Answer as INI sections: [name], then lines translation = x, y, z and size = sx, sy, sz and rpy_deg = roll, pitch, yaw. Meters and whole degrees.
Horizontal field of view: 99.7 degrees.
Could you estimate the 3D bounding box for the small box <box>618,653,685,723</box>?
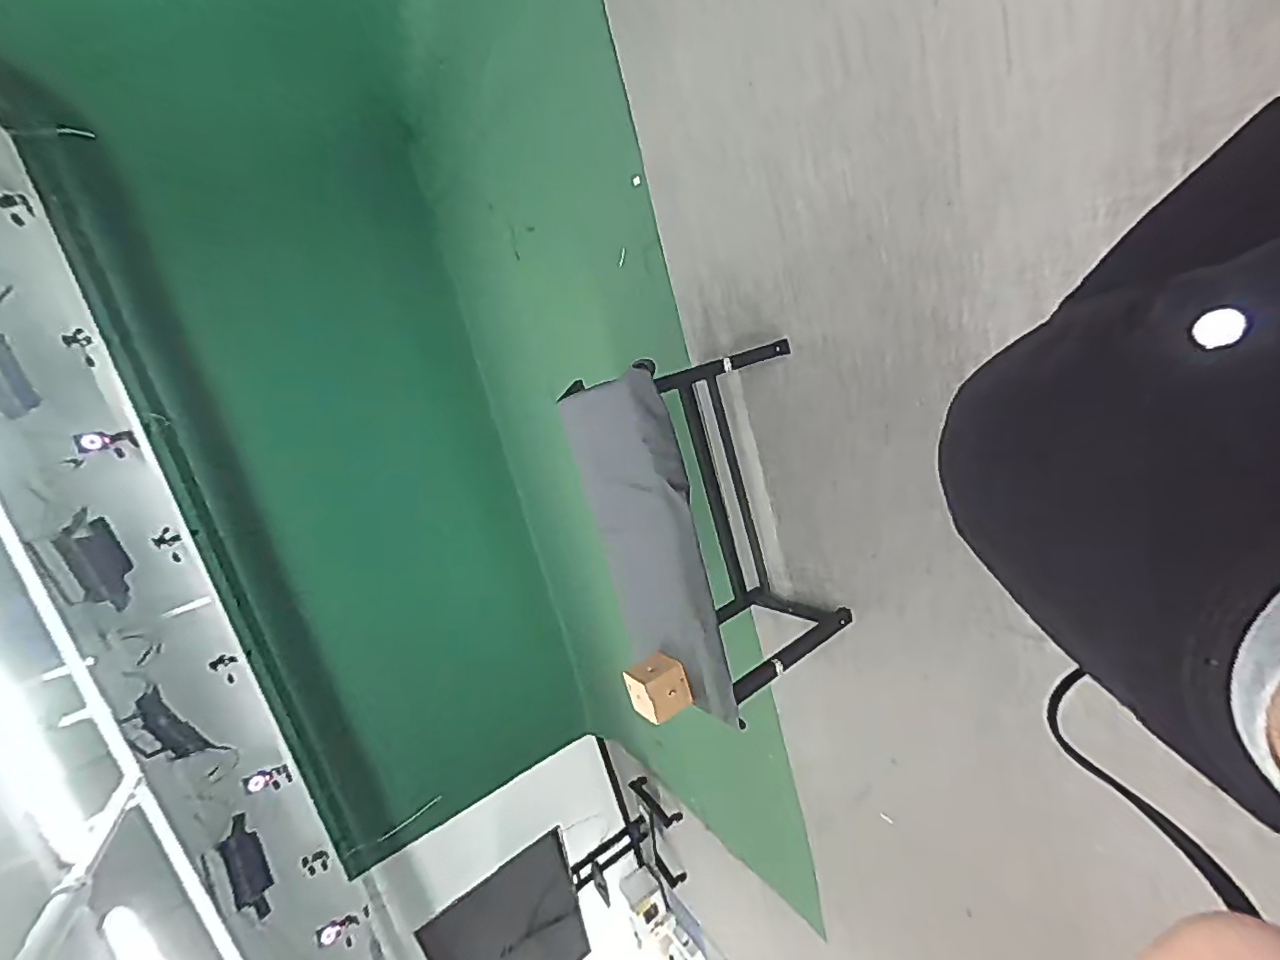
[small box]
translation = 0.050, 0.774, 2.035
size = 0.179, 0.176, 0.168
rpy_deg = -4, 105, 59
